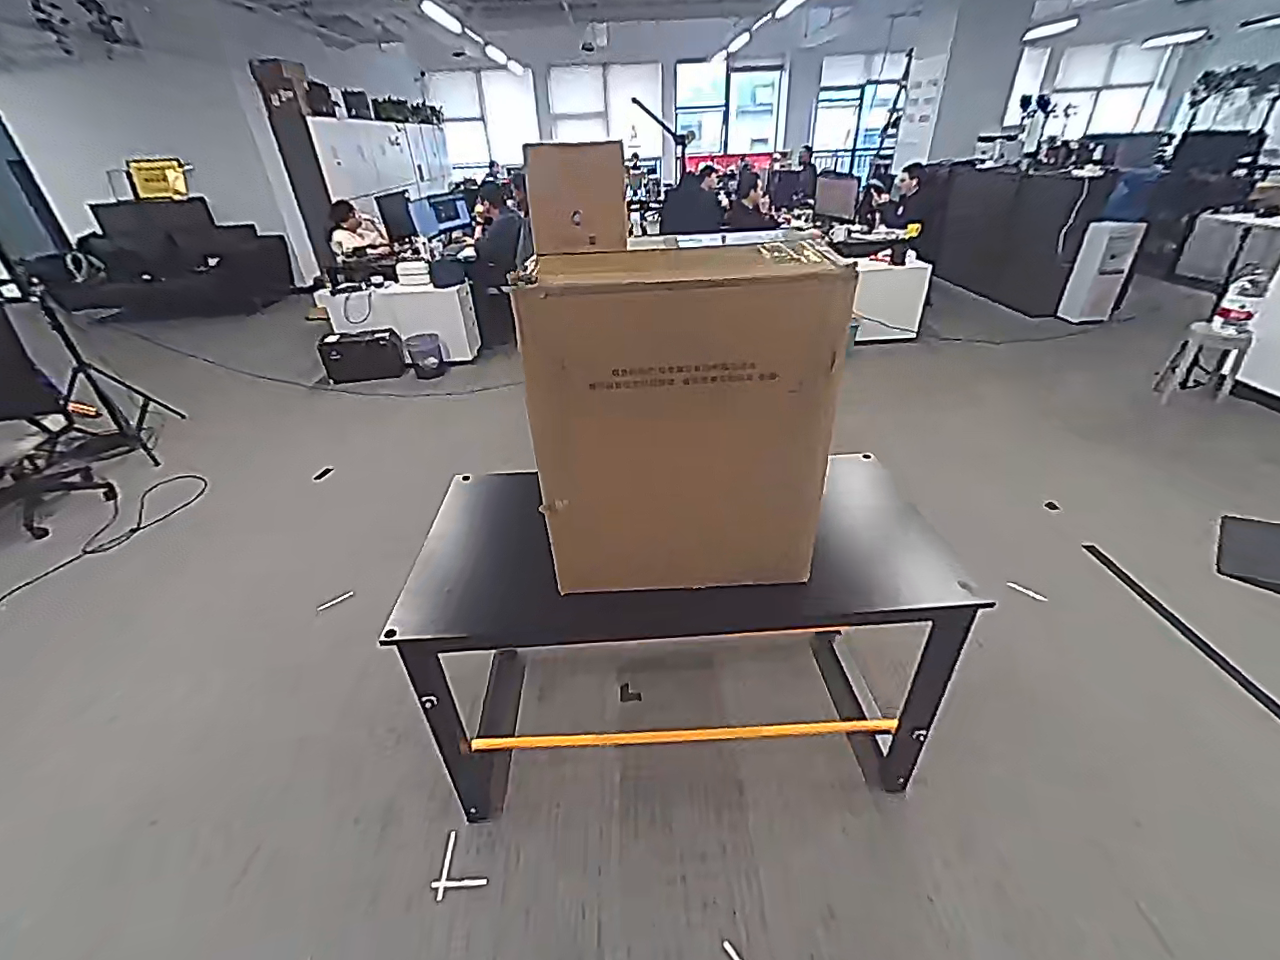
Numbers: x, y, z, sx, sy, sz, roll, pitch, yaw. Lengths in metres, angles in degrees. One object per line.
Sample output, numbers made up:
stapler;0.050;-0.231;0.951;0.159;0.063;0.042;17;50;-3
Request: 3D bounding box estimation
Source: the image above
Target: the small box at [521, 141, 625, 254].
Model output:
small box;-0.114;-0.510;0.980;0.168;0.176;0.179;-4;31;-3
